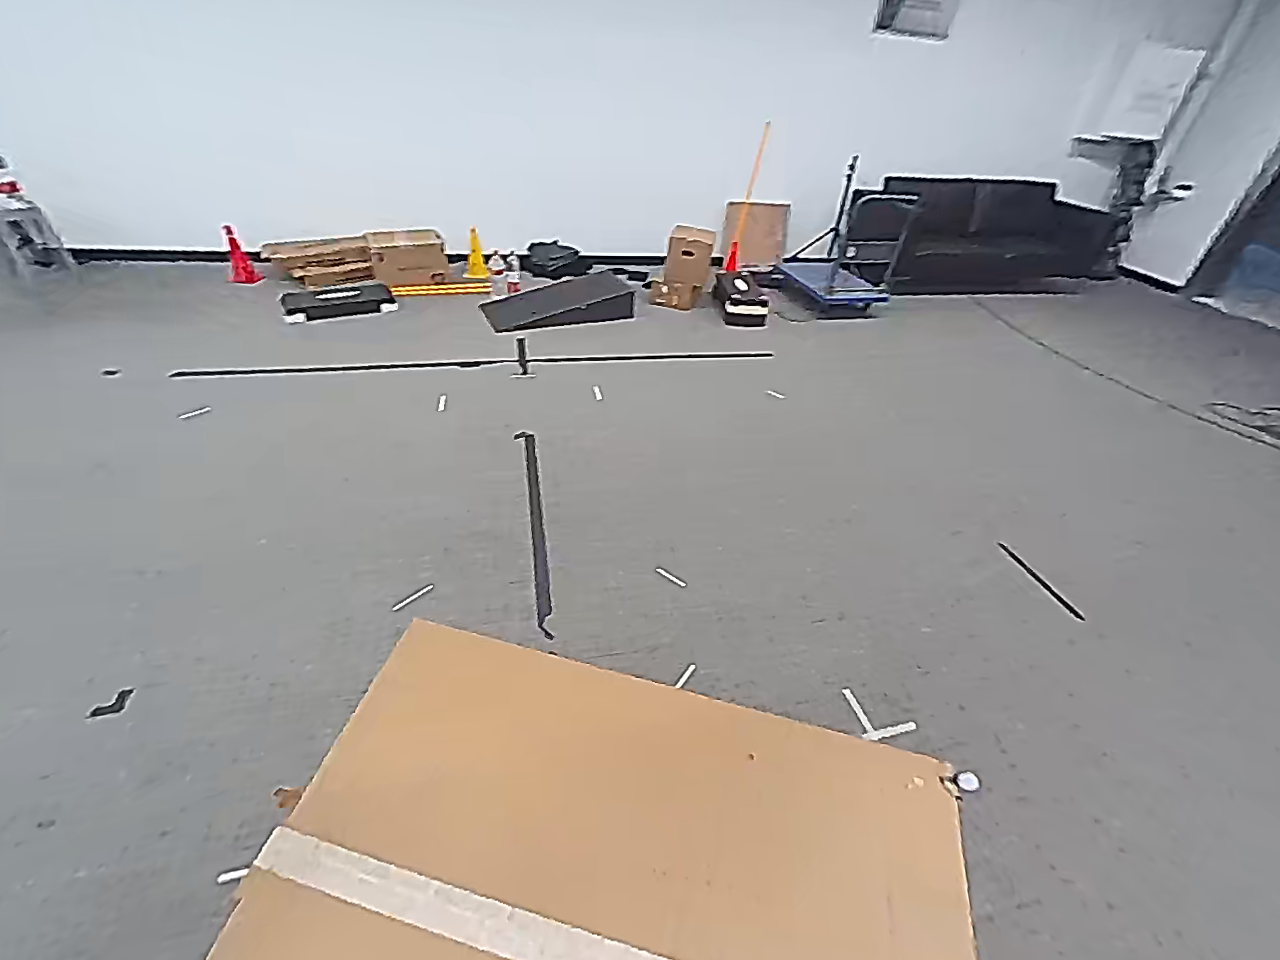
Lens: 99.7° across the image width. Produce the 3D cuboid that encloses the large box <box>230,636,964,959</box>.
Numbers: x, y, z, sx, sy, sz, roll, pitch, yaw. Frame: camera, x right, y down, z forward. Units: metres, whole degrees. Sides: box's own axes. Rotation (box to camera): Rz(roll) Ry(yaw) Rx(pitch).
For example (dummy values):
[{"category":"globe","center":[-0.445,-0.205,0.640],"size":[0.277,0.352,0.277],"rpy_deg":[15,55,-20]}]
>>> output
[{"category":"large box","center":[-0.028,0.367,0.411],"size":[0.408,0.320,0.320],"rpy_deg":[12,49,7]}]
